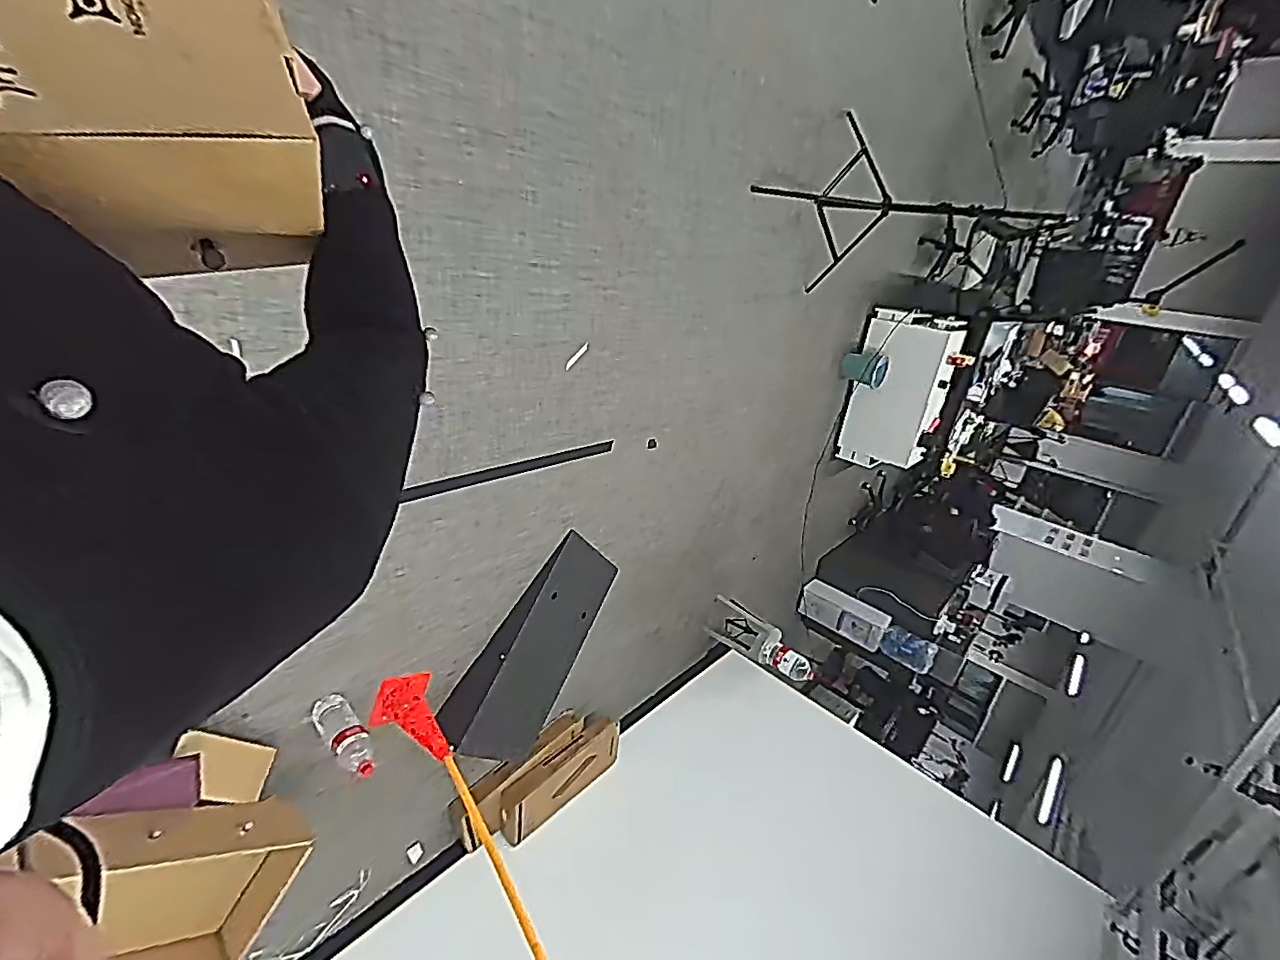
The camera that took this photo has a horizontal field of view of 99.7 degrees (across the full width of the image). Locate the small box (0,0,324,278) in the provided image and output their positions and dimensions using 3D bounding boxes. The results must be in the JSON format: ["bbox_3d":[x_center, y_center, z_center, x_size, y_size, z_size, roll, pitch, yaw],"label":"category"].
[{"bbox_3d":[-0.363,-0.275,0.411,0.179,0.176,0.168,-21,90,-31],"label":"small box"}]
